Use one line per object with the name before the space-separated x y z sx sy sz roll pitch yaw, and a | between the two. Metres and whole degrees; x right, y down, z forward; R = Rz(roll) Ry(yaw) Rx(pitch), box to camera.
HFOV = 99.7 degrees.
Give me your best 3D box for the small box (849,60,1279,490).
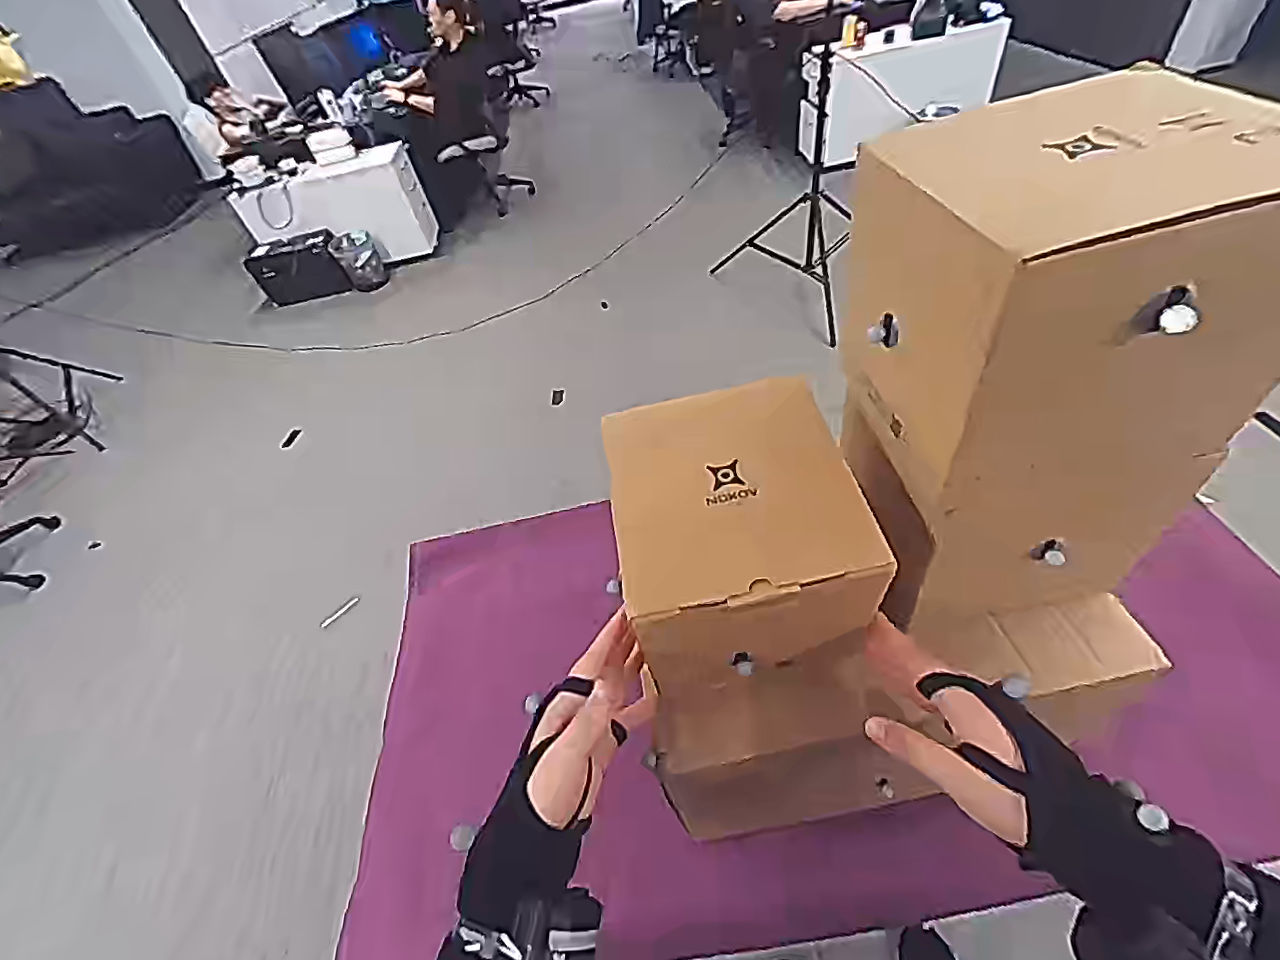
small box | 0.238 -0.114 0.324 0.179 0.176 0.168 -12 47 3
